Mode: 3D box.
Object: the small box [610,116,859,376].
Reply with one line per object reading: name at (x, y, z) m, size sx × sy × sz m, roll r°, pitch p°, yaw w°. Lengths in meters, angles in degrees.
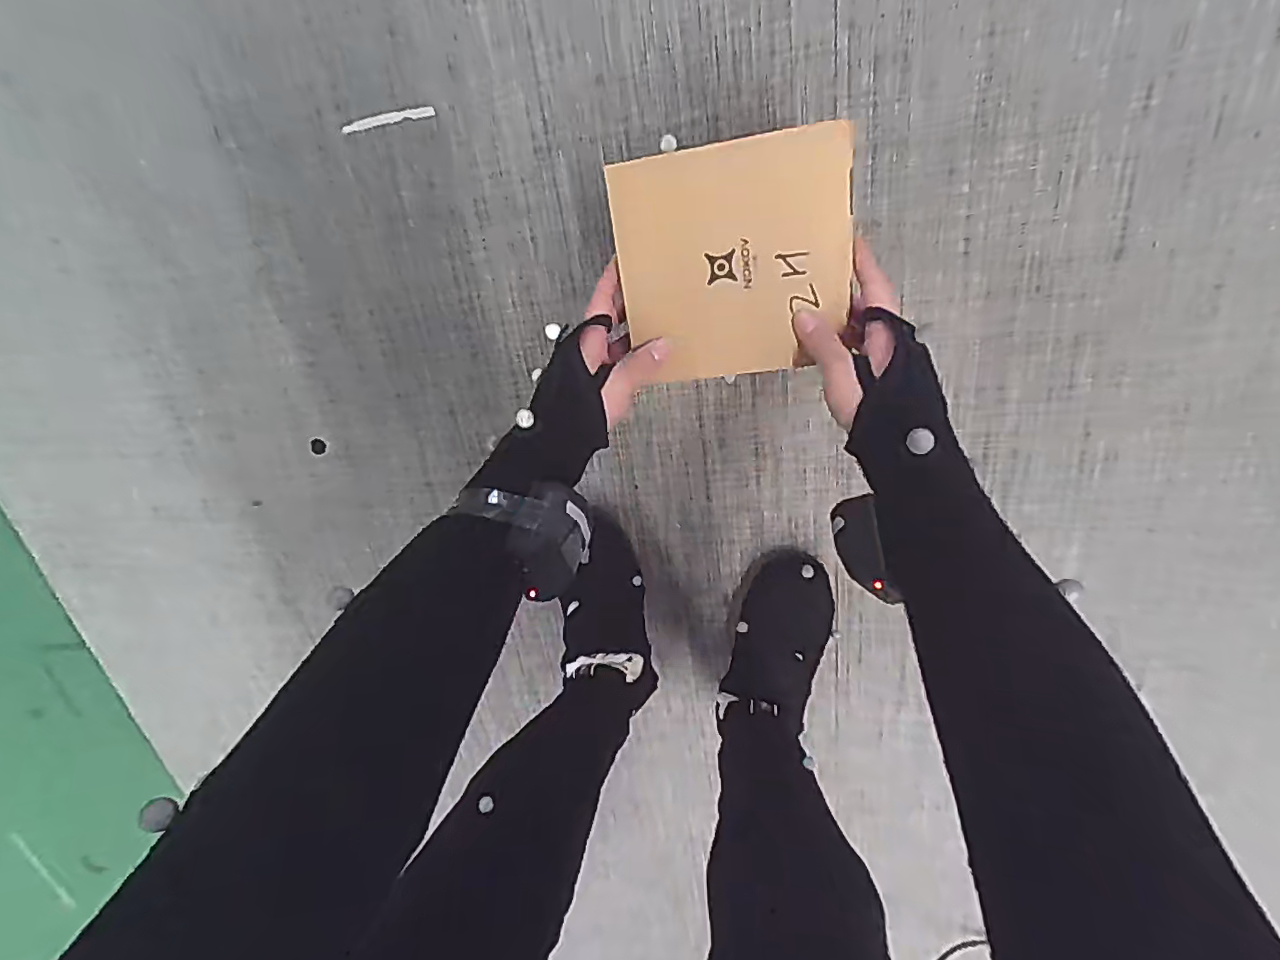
small box at (0.085, -0.197, 0.481) m, size 0.179 × 0.176 × 0.168 m, roll -4°, pitch 113°, yaw 11°
